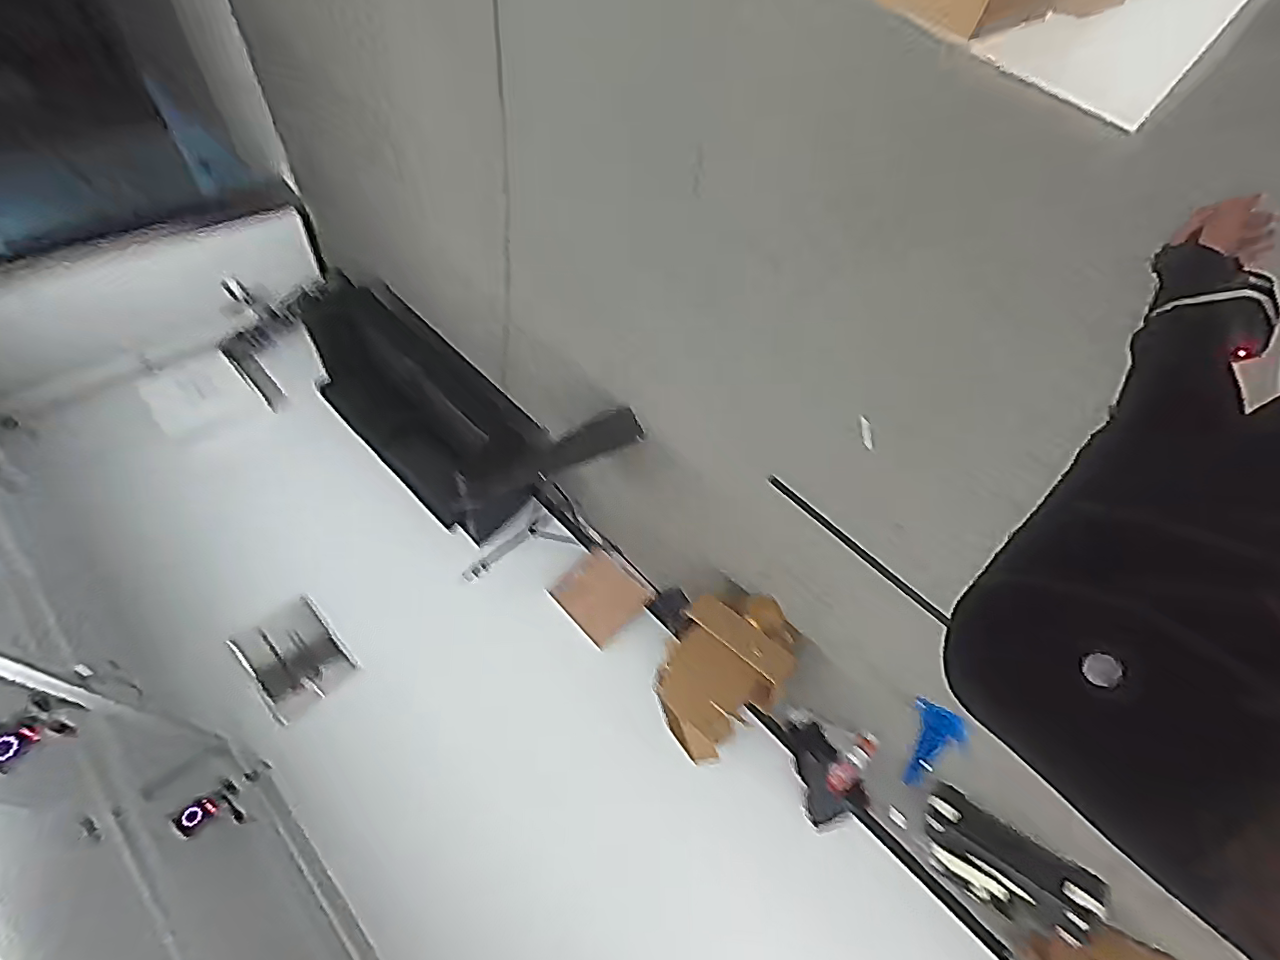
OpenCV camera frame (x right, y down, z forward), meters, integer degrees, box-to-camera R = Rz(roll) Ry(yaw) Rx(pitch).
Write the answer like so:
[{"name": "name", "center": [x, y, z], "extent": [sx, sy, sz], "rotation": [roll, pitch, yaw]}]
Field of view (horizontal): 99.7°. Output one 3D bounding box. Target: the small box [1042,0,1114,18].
[{"name": "small box", "center": [0.471, -0.625, 0.563], "extent": [0.168, 0.176, 0.179], "rotation": [42, 148, 19]}]

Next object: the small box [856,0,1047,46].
[{"name": "small box", "center": [0.248, -0.458, 0.389], "extent": [0.168, 0.176, 0.179], "rotation": [42, 148, 18]}]
